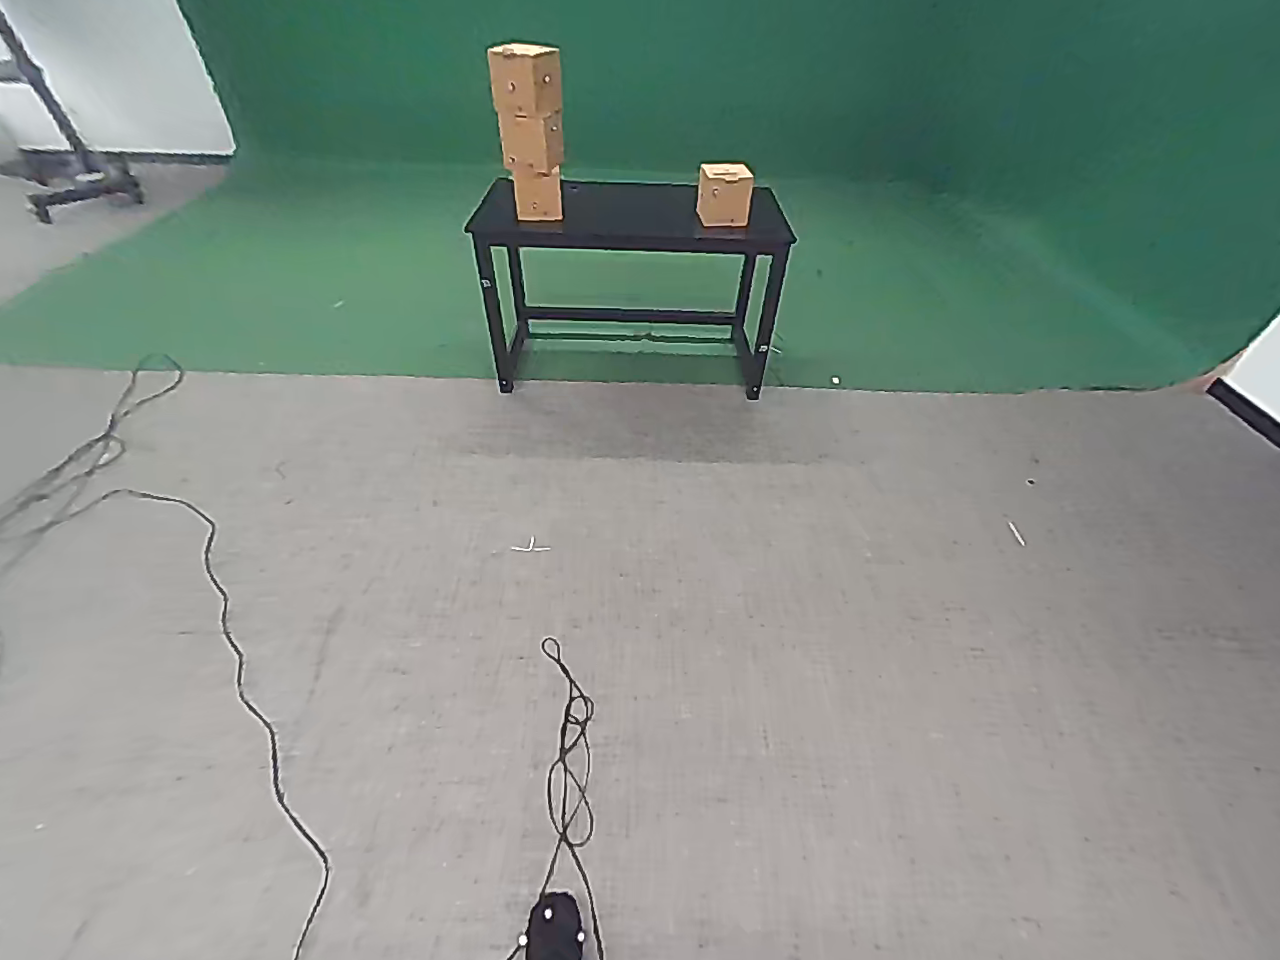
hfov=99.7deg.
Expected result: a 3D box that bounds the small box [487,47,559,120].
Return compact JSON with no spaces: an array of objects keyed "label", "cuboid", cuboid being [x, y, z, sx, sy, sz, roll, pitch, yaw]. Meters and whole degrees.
[{"label":"small box","cuboid":[-0.382,-1.322,1.805,0.168,0.176,0.179,19,48,15]}]

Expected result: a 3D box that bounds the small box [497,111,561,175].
[{"label":"small box","cuboid":[-0.385,-1.201,1.916,0.168,0.176,0.179,11,45,8]}]

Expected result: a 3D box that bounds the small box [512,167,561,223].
[{"label":"small box","cuboid":[-0.387,-1.084,2.031,0.168,0.176,0.179,-4,46,-7]}]
